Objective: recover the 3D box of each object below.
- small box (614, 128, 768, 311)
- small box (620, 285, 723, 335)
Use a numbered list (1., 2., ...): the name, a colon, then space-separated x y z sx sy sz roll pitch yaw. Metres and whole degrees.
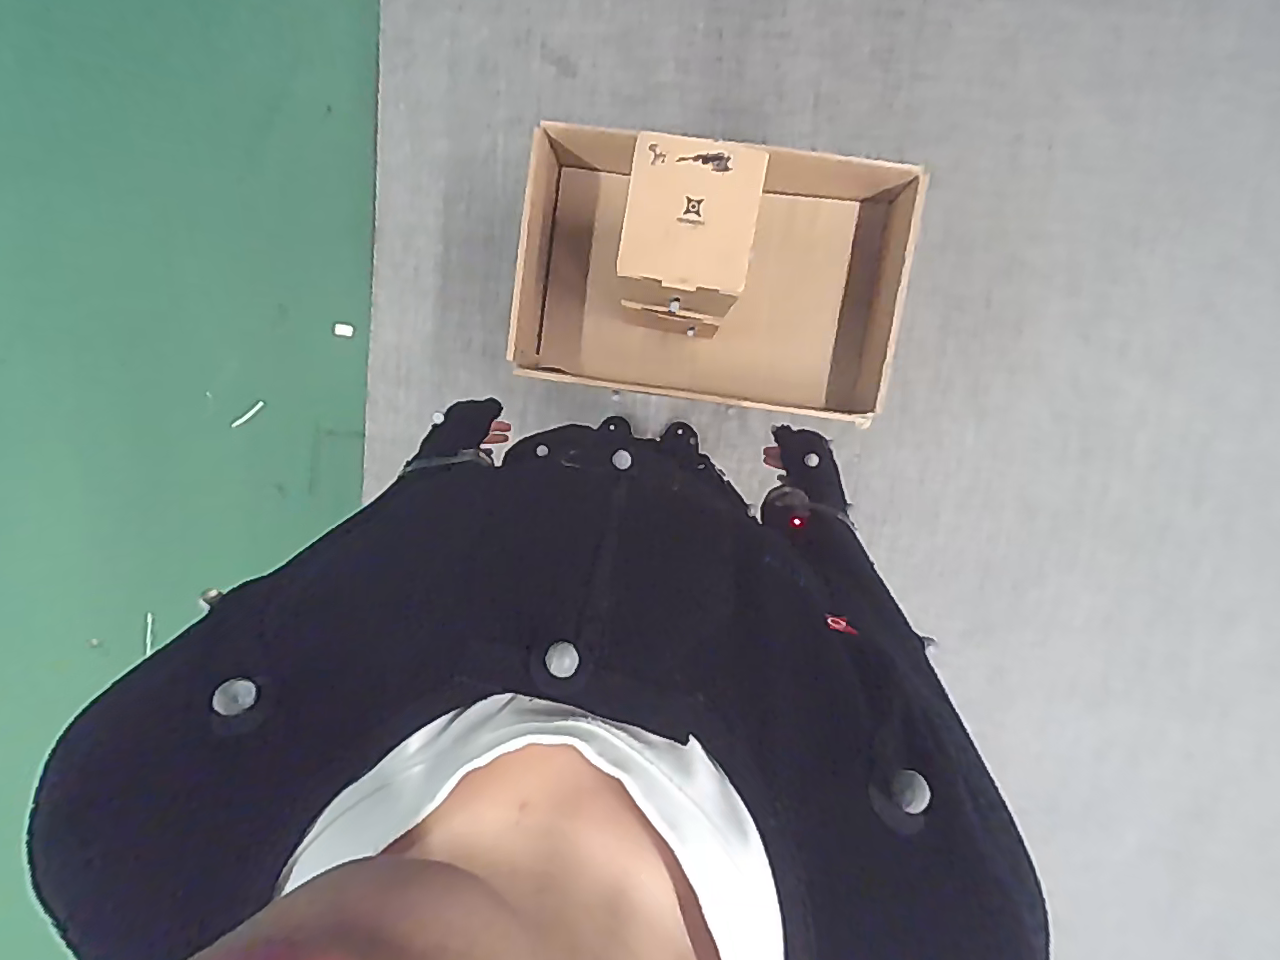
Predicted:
1. small box: 0.065 -0.344 0.751 0.168 0.176 0.179 10 98 -1
2. small box: 0.066 -0.355 0.915 0.168 0.176 0.179 11 96 0
